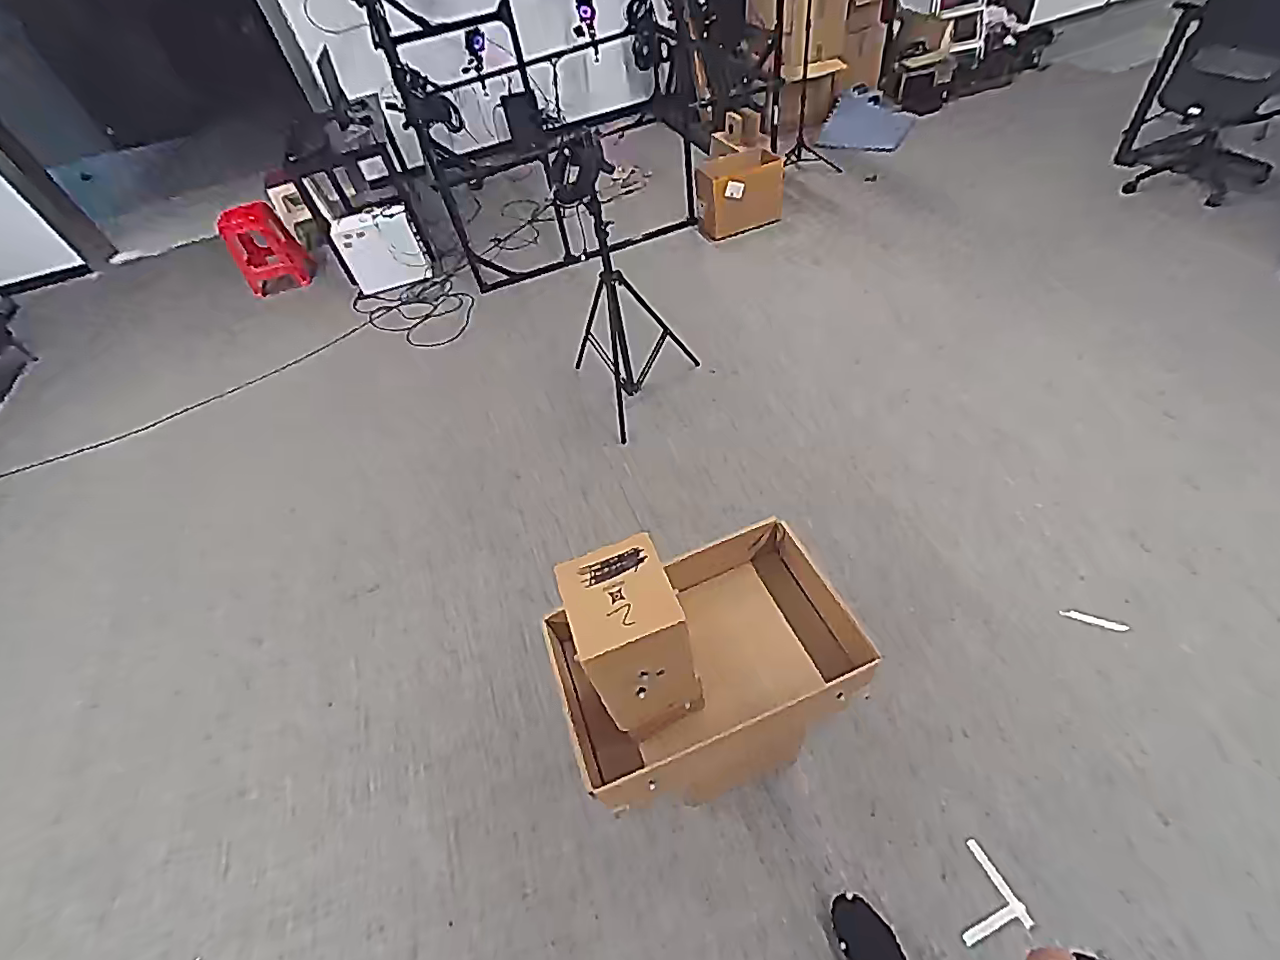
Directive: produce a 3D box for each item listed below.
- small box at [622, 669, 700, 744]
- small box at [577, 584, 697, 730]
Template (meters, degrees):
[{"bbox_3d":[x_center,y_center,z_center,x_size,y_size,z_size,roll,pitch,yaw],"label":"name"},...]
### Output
[{"bbox_3d":[0.016,0.424,1.146,0.179,0.176,0.168,-26,49,-10],"label":"small box"},{"bbox_3d":[-0.004,0.333,1.012,0.168,0.176,0.179,-21,48,-7],"label":"small box"}]
